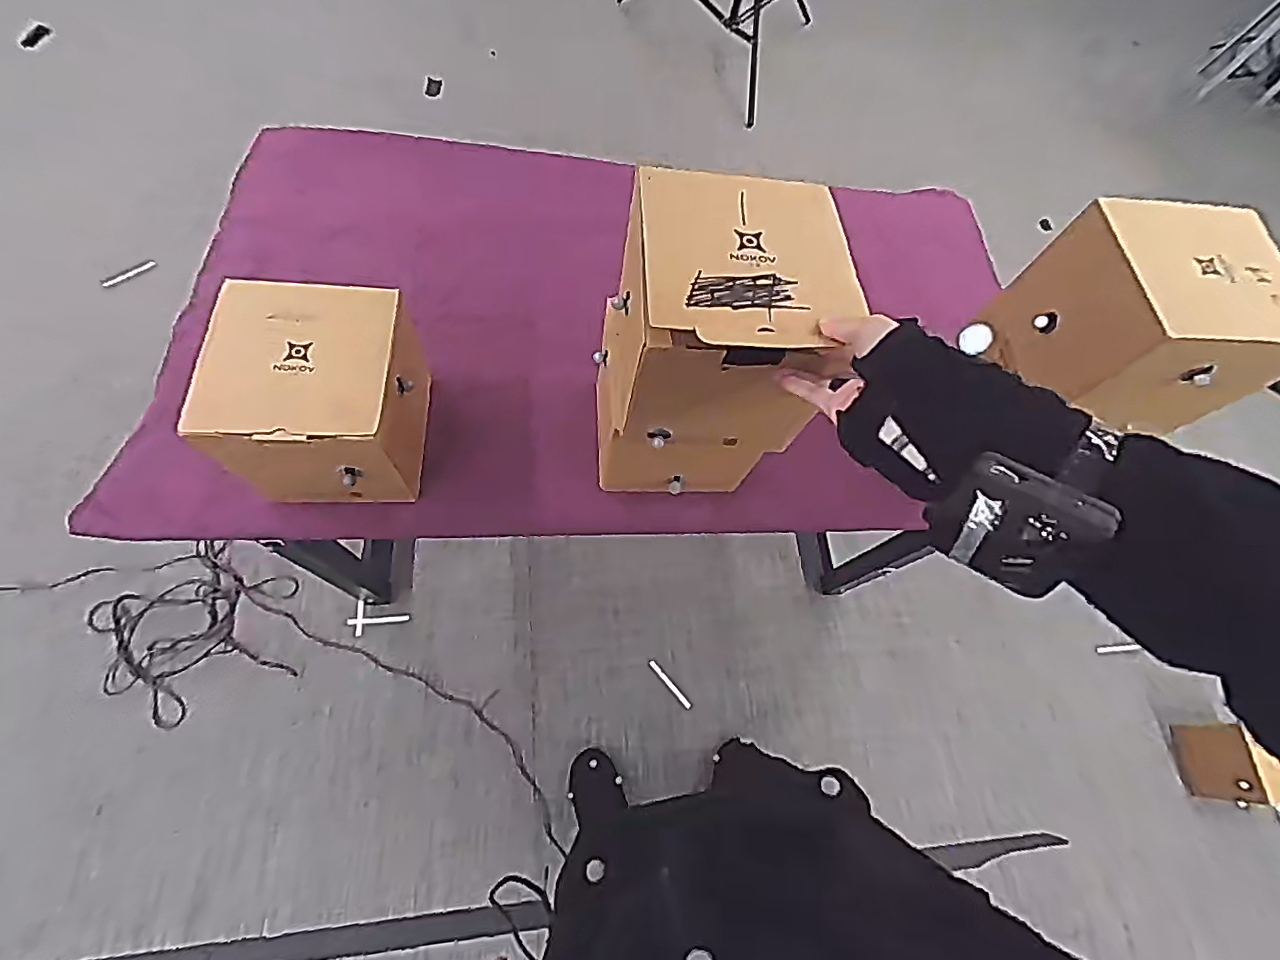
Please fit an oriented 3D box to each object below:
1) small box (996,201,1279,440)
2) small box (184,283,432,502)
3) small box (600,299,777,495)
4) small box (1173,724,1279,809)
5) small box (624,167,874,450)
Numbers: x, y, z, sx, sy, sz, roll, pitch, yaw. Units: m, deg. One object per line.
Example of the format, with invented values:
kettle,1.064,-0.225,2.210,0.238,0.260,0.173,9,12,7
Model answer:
small box,0.506,-0.151,0.554,0.179,0.176,0.168,1,66,-7
small box,-0.329,-0.082,0.581,0.168,0.176,0.179,0,66,-10
small box,0.048,-0.088,0.640,0.179,0.176,0.168,0,67,-9
small box,1.480,0.695,1.324,0.168,0.176,0.179,4,67,-7
small box,0.077,-0.138,0.484,0.168,0.176,0.179,2,67,-8
